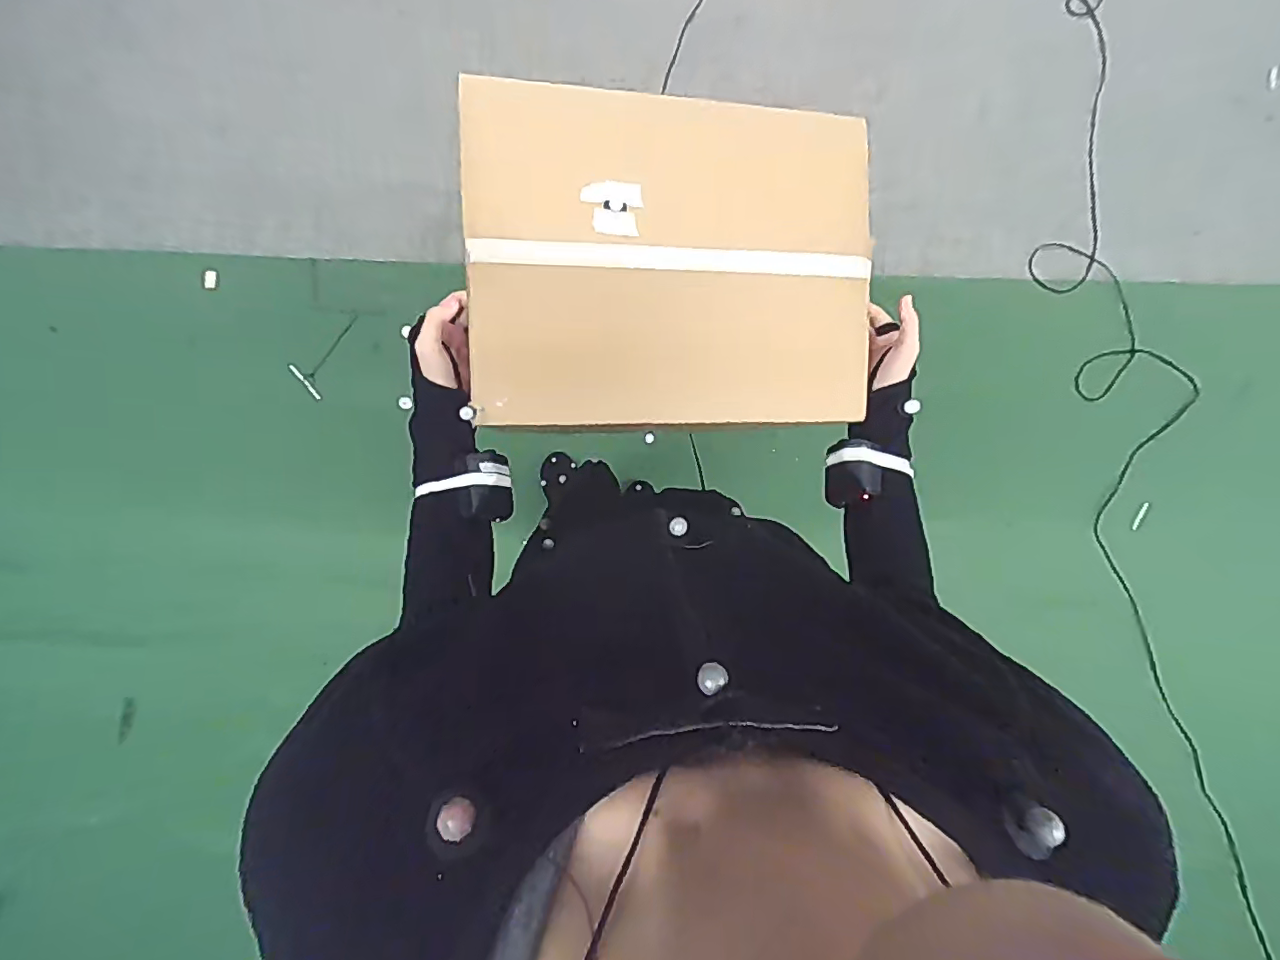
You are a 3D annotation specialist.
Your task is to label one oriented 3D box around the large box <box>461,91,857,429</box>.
[{"bbox_3d":[0.009,-0.225,0.687,0.408,0.320,0.320,-2,93,-10],"label":"large box"}]
